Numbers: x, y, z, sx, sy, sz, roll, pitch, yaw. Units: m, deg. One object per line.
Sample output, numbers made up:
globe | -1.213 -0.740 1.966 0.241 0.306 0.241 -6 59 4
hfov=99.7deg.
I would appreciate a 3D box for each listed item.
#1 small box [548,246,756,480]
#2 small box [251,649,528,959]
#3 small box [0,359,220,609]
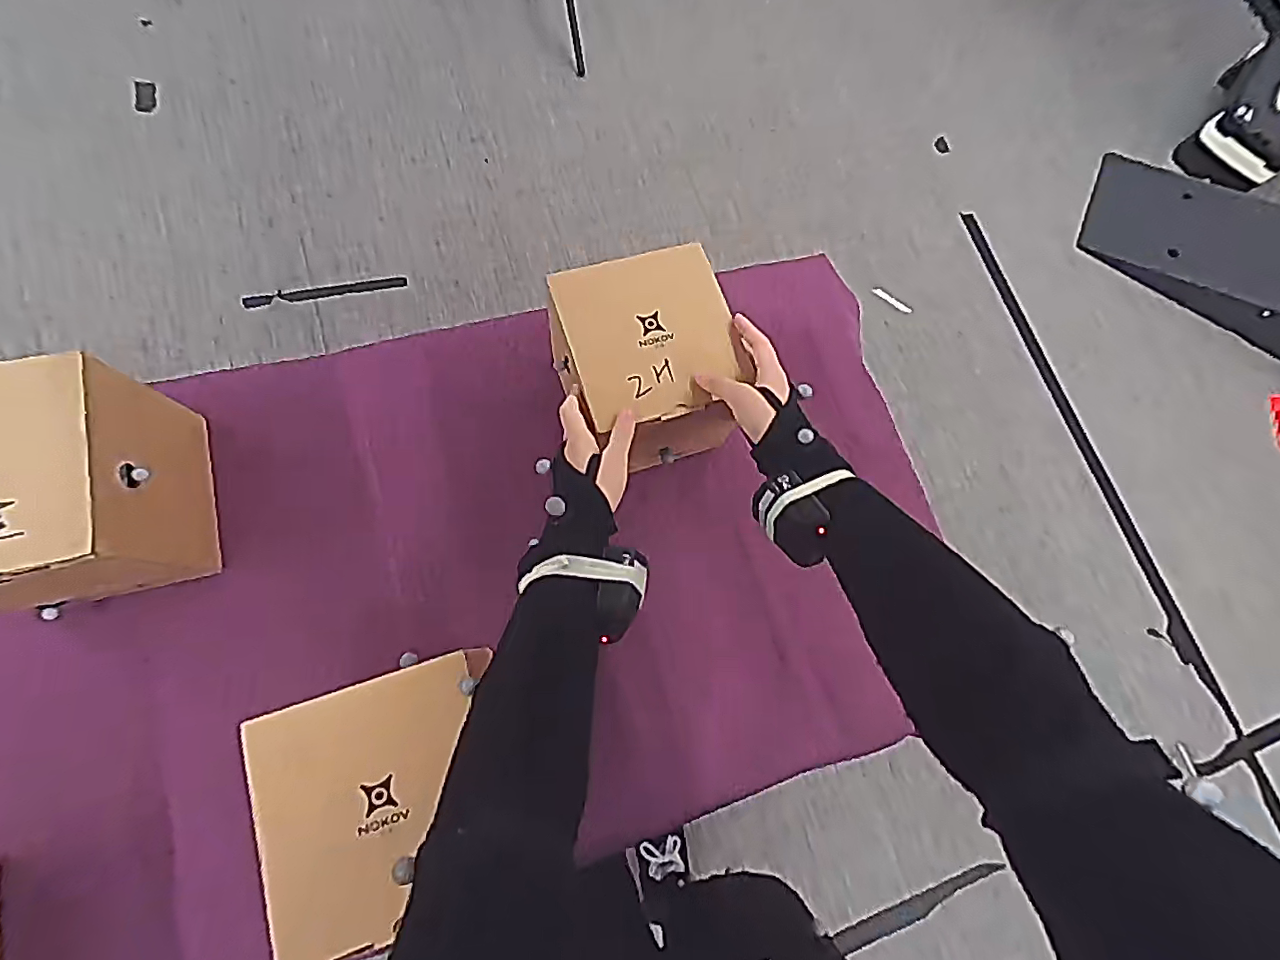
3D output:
small box | 0.002 -0.120 0.603 0.168 0.176 0.179 -17 77 -9
small box | -0.202 0.261 0.479 0.168 0.176 0.179 -16 77 -13
small box | -0.522 0.016 0.492 0.168 0.176 0.179 -13 78 -12
